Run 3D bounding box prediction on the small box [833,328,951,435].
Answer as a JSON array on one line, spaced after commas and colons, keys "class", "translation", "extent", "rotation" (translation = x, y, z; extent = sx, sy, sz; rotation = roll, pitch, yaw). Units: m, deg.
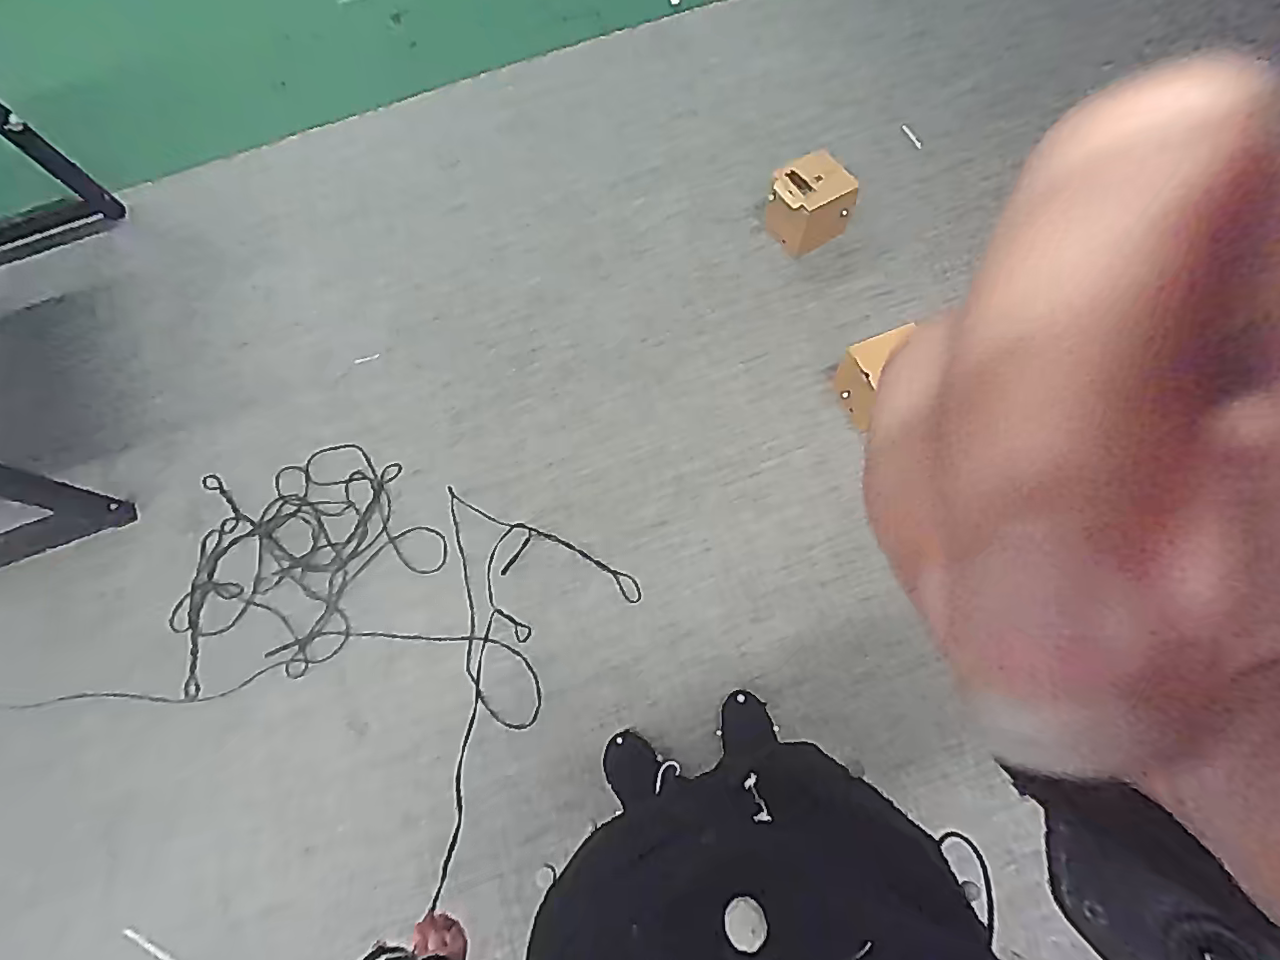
[{"class": "small box", "translation": [0.606, -0.235, 1.325], "extent": [0.179, 0.176, 0.168], "rotation": [-22, 71, -3]}]
